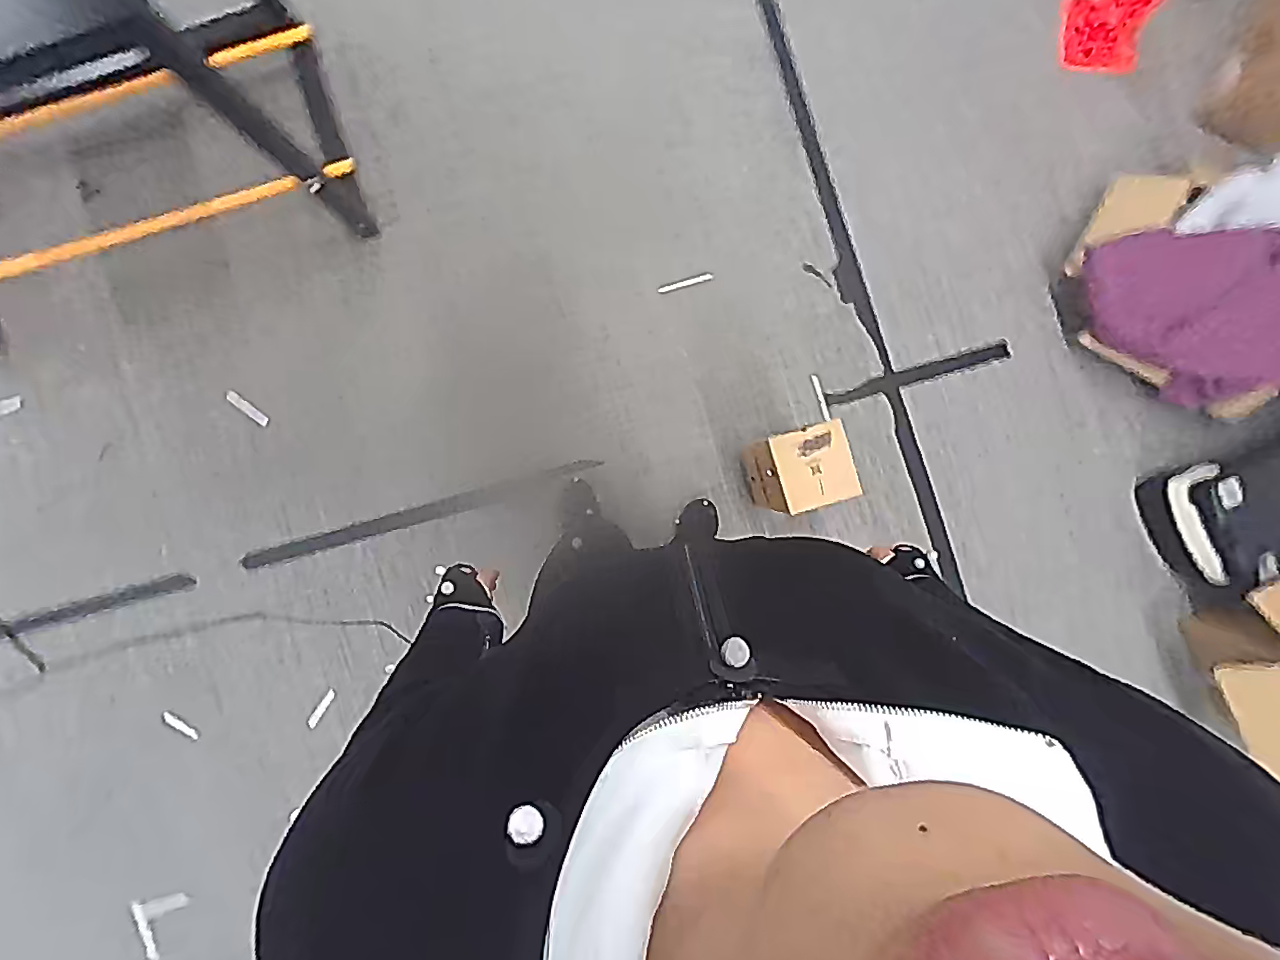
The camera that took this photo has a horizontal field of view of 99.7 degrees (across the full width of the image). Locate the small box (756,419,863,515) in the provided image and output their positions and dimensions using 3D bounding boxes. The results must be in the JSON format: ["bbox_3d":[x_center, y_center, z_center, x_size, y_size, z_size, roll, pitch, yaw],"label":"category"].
[{"bbox_3d":[0.382,-0.027,1.250,0.168,0.176,0.179,-17,91,1],"label":"small box"}]

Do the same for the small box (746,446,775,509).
[{"bbox_3d":[0.384,-0.024,1.416,0.179,0.176,0.168,-15,90,1],"label":"small box"}]
